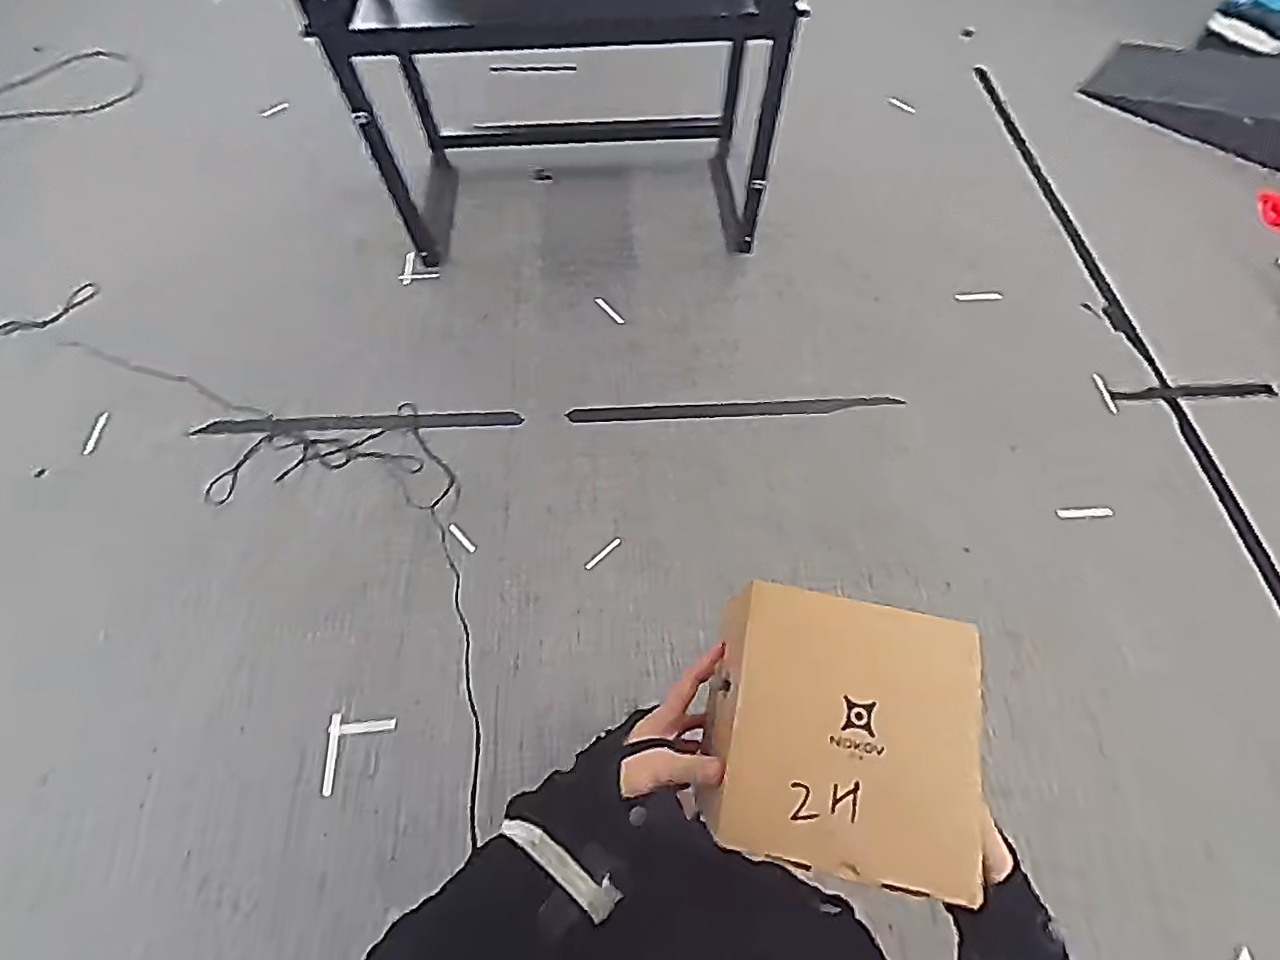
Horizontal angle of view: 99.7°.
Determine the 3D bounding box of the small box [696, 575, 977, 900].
[{"bbox_3d":[0.142,0.193,0.440,0.168,0.176,0.179,10,69,4],"label":"small box"}]
